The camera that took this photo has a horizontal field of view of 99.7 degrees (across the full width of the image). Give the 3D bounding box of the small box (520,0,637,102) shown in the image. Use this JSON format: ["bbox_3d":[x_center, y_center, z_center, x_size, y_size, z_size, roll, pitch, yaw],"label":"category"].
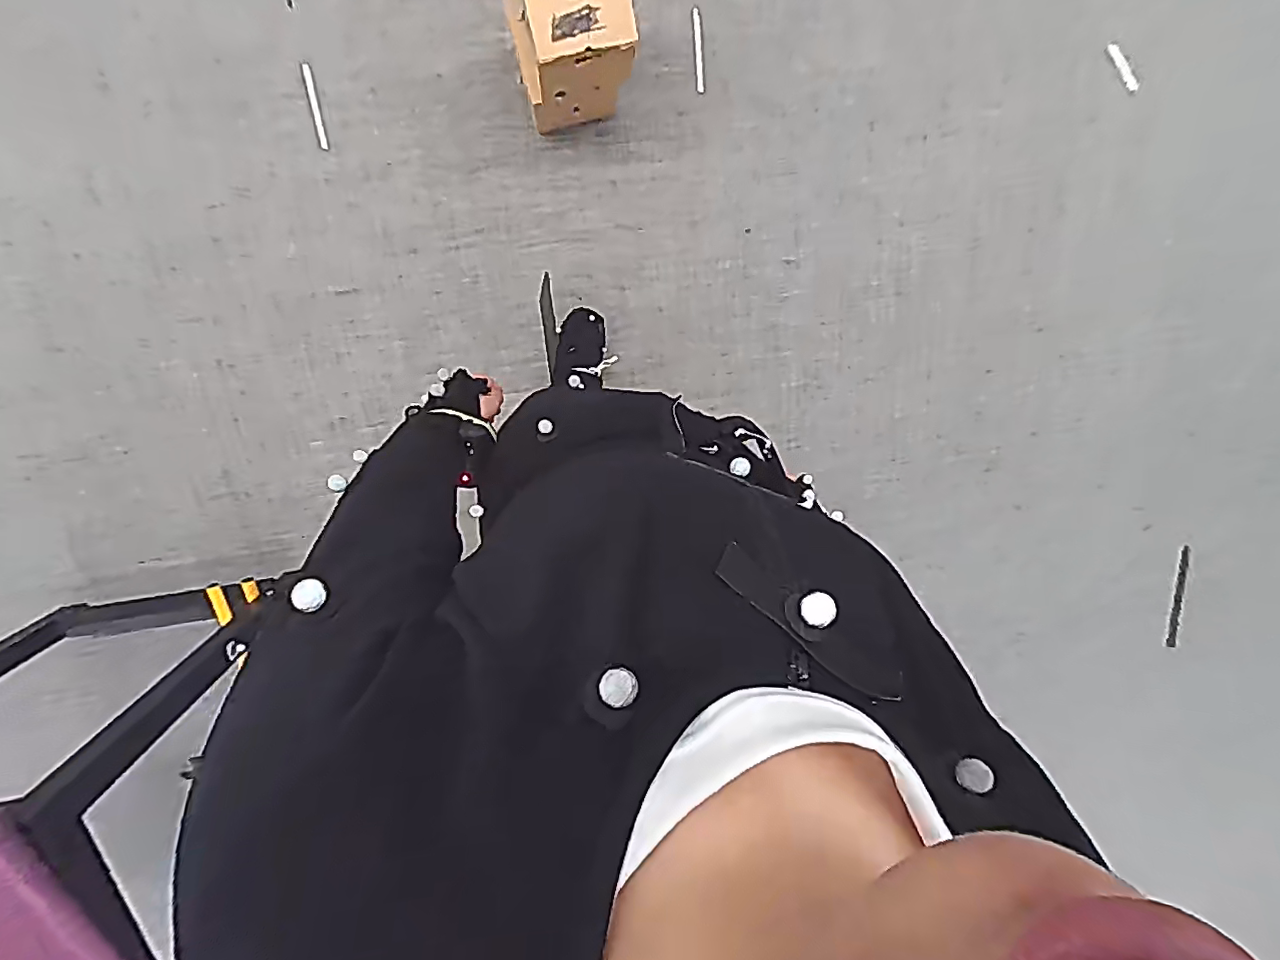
[{"bbox_3d":[-0.108,-0.769,0.909,0.168,0.176,0.179,-14,106,-4],"label":"small box"}]
